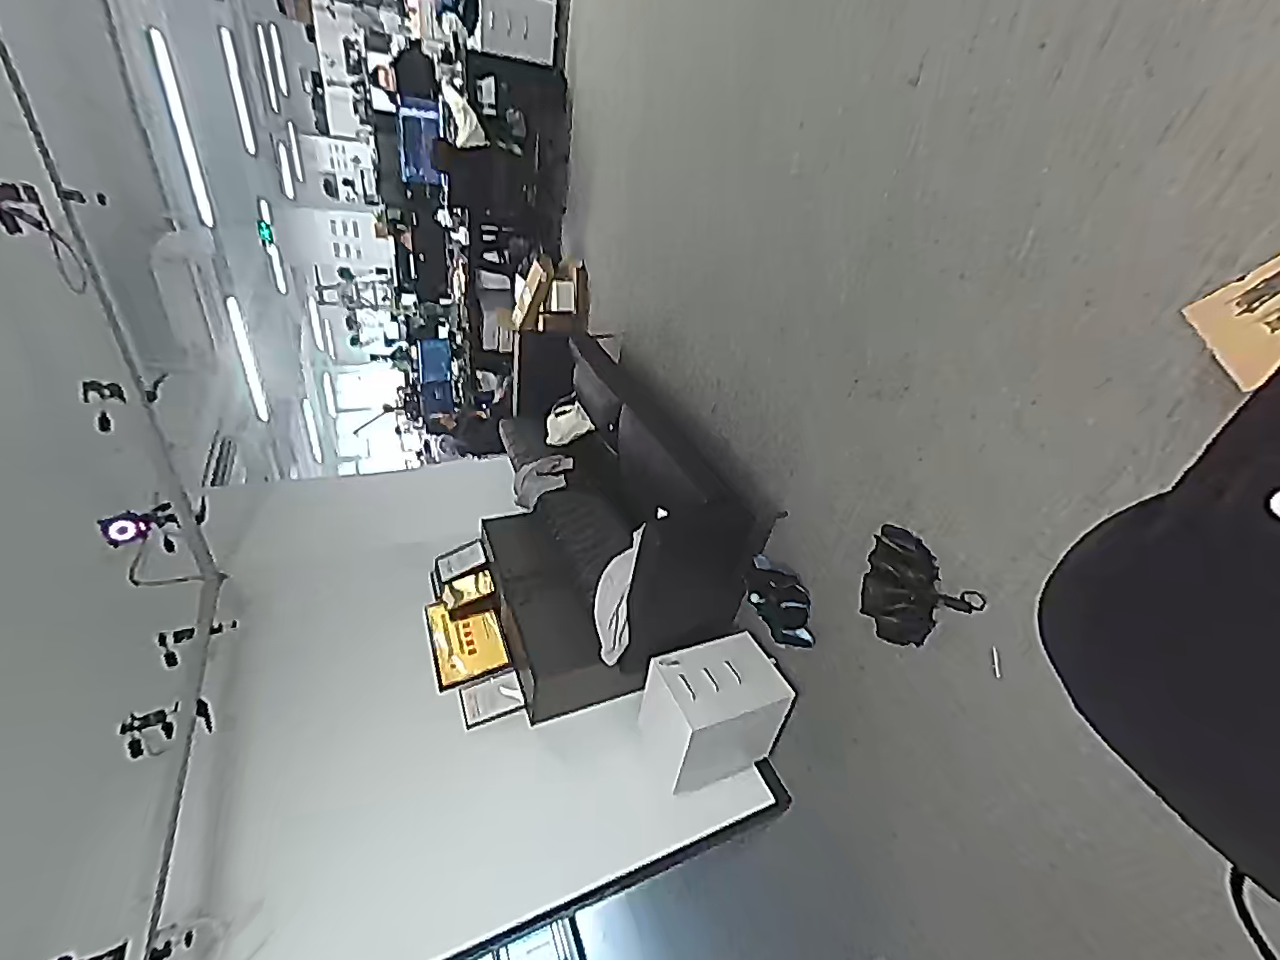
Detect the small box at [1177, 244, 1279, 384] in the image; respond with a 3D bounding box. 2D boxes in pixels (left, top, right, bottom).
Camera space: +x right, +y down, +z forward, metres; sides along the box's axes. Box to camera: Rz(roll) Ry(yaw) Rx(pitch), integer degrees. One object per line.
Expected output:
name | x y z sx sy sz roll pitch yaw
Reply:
small box | 1.068 -0.278 0.892 0.168 0.176 0.179 -51 54 59
